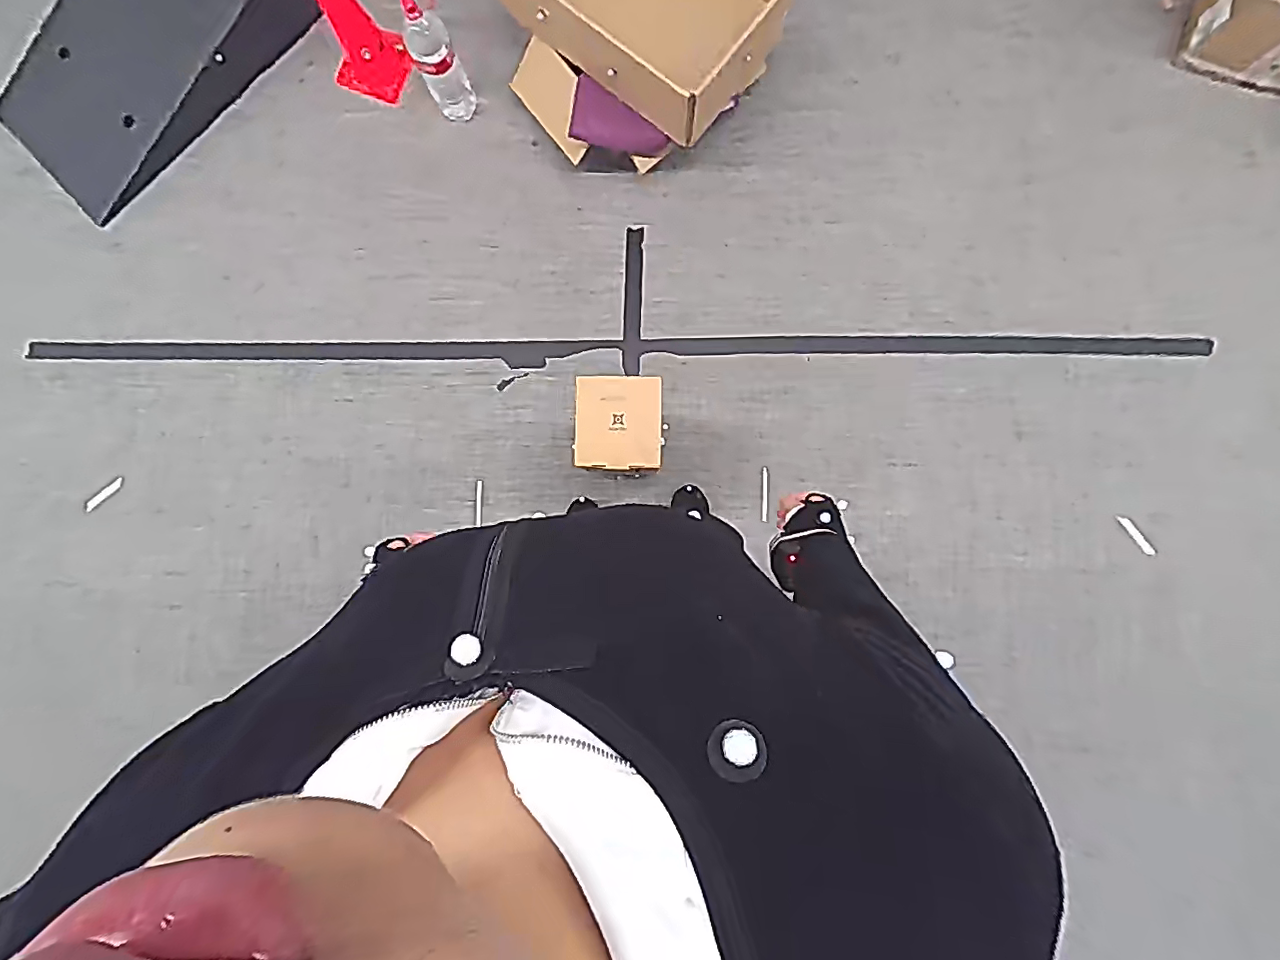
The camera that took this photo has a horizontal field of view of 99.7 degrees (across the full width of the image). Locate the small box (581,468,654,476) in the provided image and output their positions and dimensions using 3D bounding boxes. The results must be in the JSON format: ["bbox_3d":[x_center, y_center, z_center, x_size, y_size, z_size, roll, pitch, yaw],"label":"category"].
[{"bbox_3d":[-0.048,-0.102,1.270,0.168,0.176,0.179,2,89,1],"label":"small box"}]

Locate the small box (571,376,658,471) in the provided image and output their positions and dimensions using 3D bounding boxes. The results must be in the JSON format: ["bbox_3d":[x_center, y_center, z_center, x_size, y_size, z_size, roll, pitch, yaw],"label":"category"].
[{"bbox_3d":[-0.048,-0.108,1.108,0.168,0.176,0.179,1,88,0],"label":"small box"}]
